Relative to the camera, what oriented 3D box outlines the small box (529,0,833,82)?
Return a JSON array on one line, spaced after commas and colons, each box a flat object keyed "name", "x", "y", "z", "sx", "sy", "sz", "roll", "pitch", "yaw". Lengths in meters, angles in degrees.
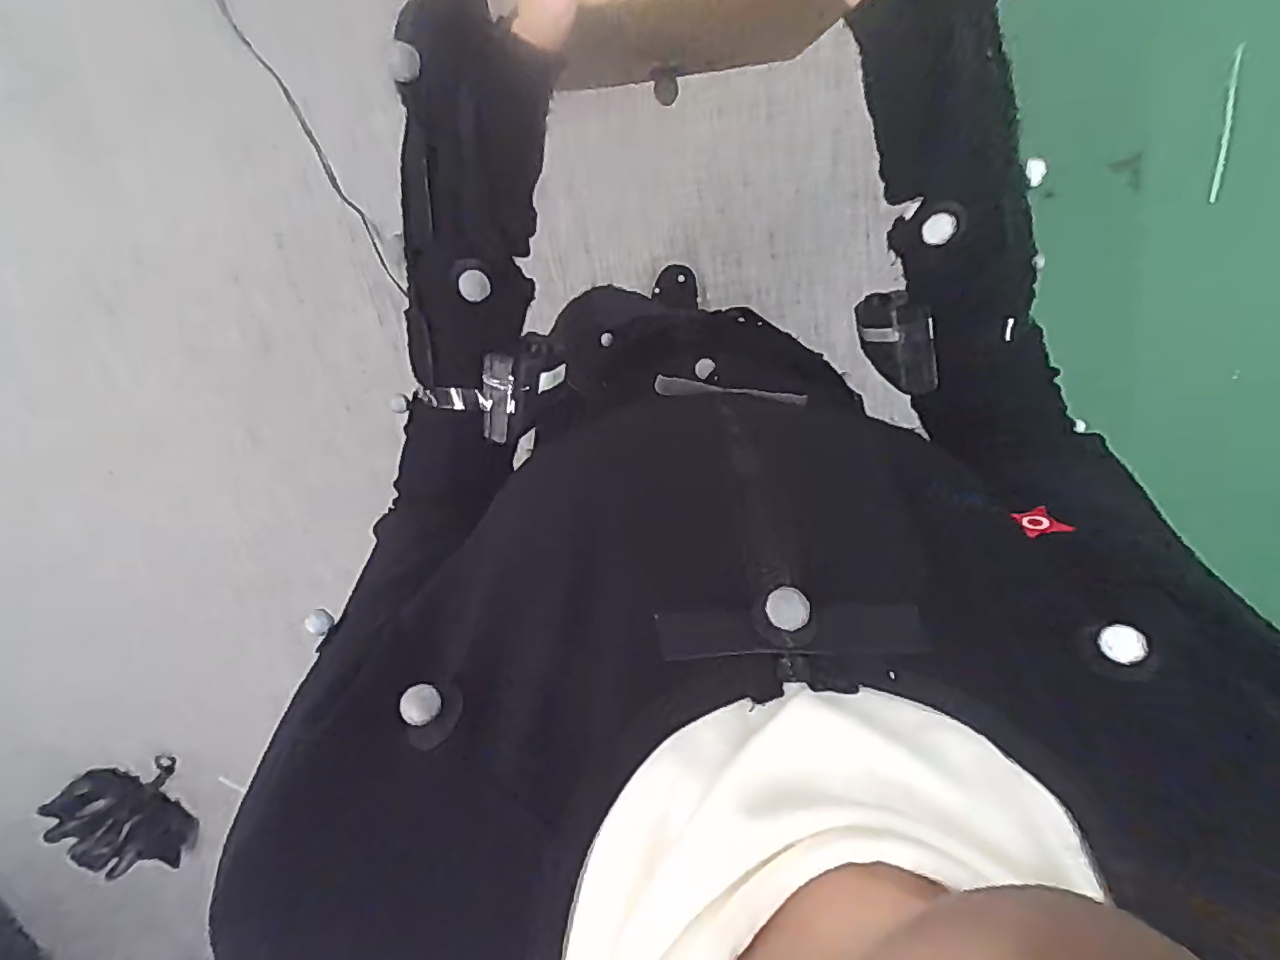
[{"name": "small box", "x": 0.014, "y": -0.322, "z": 0.256, "sx": 0.168, "sy": 0.176, "sz": 0.179, "roll": -8, "pitch": 116, "yaw": 2}]
